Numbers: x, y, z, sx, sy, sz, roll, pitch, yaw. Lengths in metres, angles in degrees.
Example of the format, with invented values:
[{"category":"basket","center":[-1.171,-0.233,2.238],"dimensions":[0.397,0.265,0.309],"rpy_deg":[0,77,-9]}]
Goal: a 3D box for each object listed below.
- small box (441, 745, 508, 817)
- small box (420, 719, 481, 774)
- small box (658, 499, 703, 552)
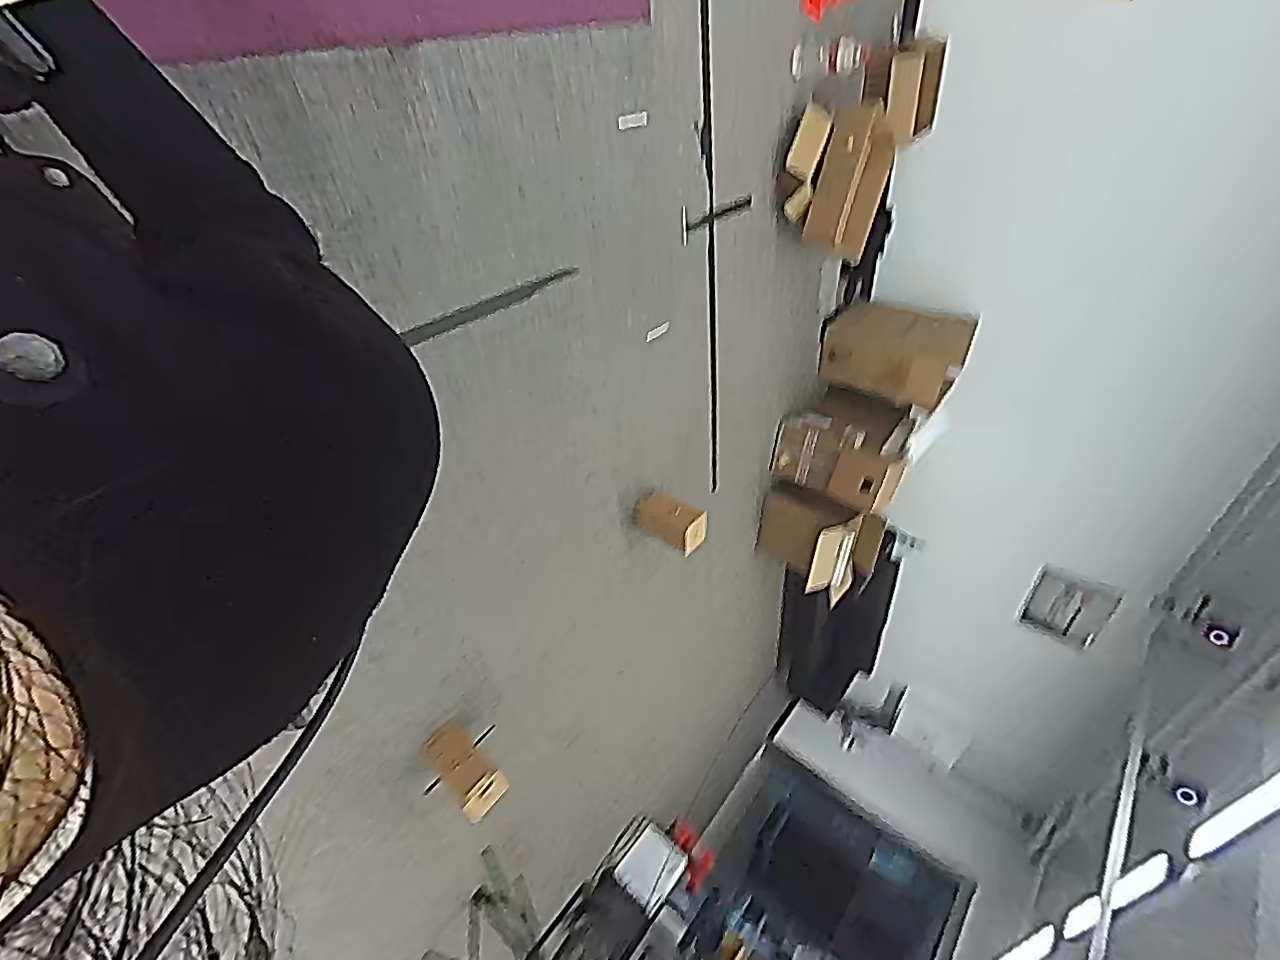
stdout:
[{"category":"small box","center":[-0.667,1.201,2.171],"dimensions":[0.168,0.176,0.179],"rpy_deg":[-41,140,-30]},{"category":"small box","center":[-0.787,1.140,2.265],"dimensions":[0.168,0.176,0.179],"rpy_deg":[-42,141,-29]},{"category":"small box","center":[0.203,0.225,2.730],"dimensions":[0.168,0.176,0.179],"rpy_deg":[-36,136,-37]}]
